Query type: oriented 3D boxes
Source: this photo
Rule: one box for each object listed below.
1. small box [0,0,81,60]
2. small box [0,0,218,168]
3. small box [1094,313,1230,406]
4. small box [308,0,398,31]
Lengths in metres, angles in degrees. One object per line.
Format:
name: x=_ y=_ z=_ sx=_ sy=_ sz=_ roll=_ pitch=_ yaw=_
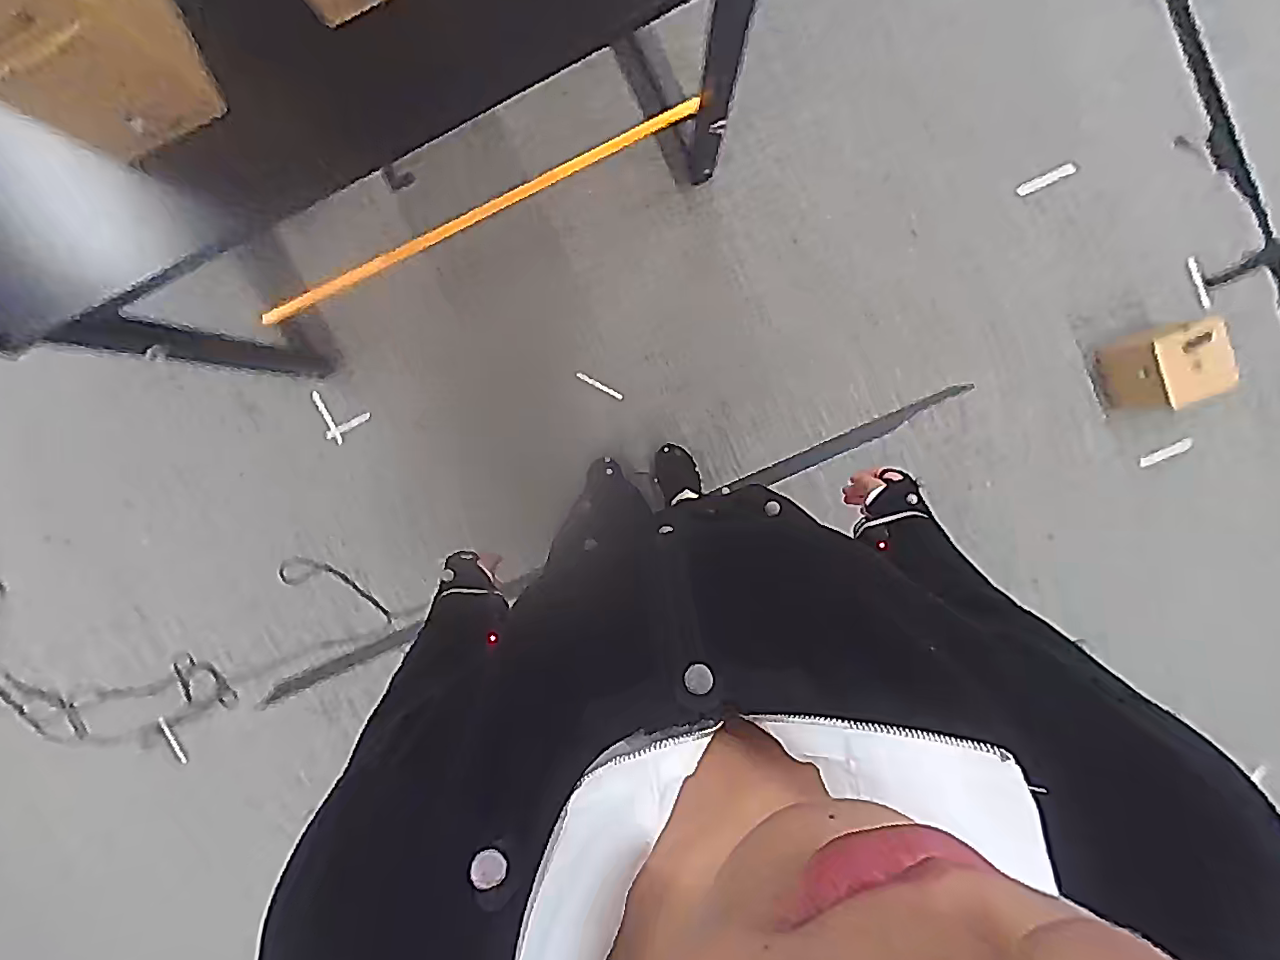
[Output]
small box: x=-0.669 y=-0.505 z=0.469 sx=0.168 sy=0.176 sz=0.179 roll=-27 pitch=95 yaw=3
small box: x=-0.662 y=-0.514 z=0.633 sx=0.168 sy=0.176 sz=0.179 roll=-25 pitch=95 yaw=3
small box: x=1.308 y=-0.297 z=1.369 sx=0.168 sy=0.176 sz=0.179 roll=-23 pitch=96 yaw=3
small box: x=-0.370 y=-0.683 z=0.615 sx=0.168 sy=0.176 sz=0.179 roll=-27 pitch=96 yaw=4
